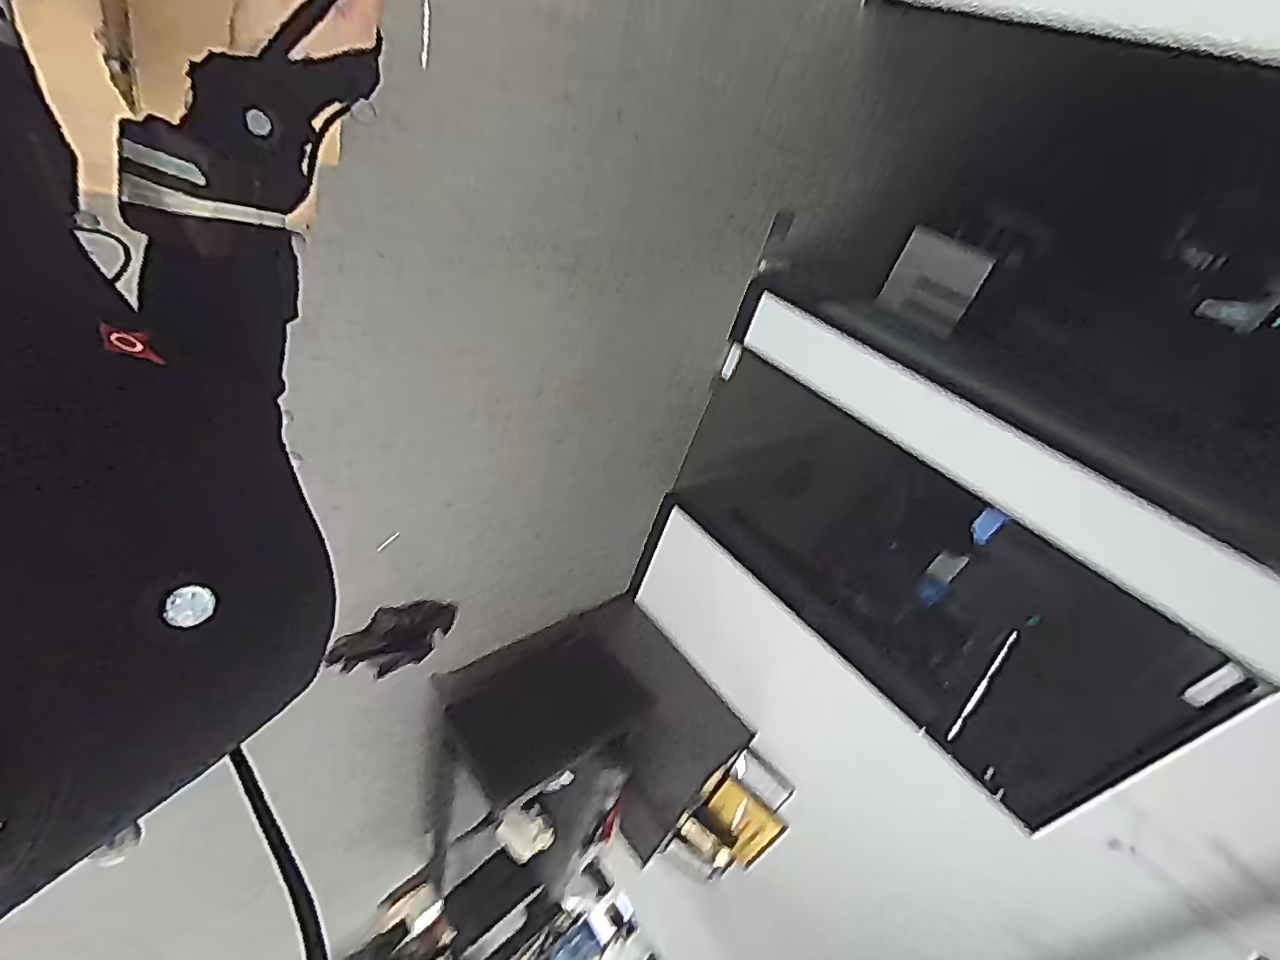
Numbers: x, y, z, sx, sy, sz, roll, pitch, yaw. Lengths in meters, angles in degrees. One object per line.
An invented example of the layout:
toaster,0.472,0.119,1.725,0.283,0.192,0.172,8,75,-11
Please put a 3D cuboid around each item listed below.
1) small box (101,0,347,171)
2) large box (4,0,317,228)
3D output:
small box,-0.413,-0.444,0.536,0.168,0.176,0.179,-14,137,-44
large box,-0.679,-0.646,0.774,0.320,0.320,0.408,-11,136,-45
